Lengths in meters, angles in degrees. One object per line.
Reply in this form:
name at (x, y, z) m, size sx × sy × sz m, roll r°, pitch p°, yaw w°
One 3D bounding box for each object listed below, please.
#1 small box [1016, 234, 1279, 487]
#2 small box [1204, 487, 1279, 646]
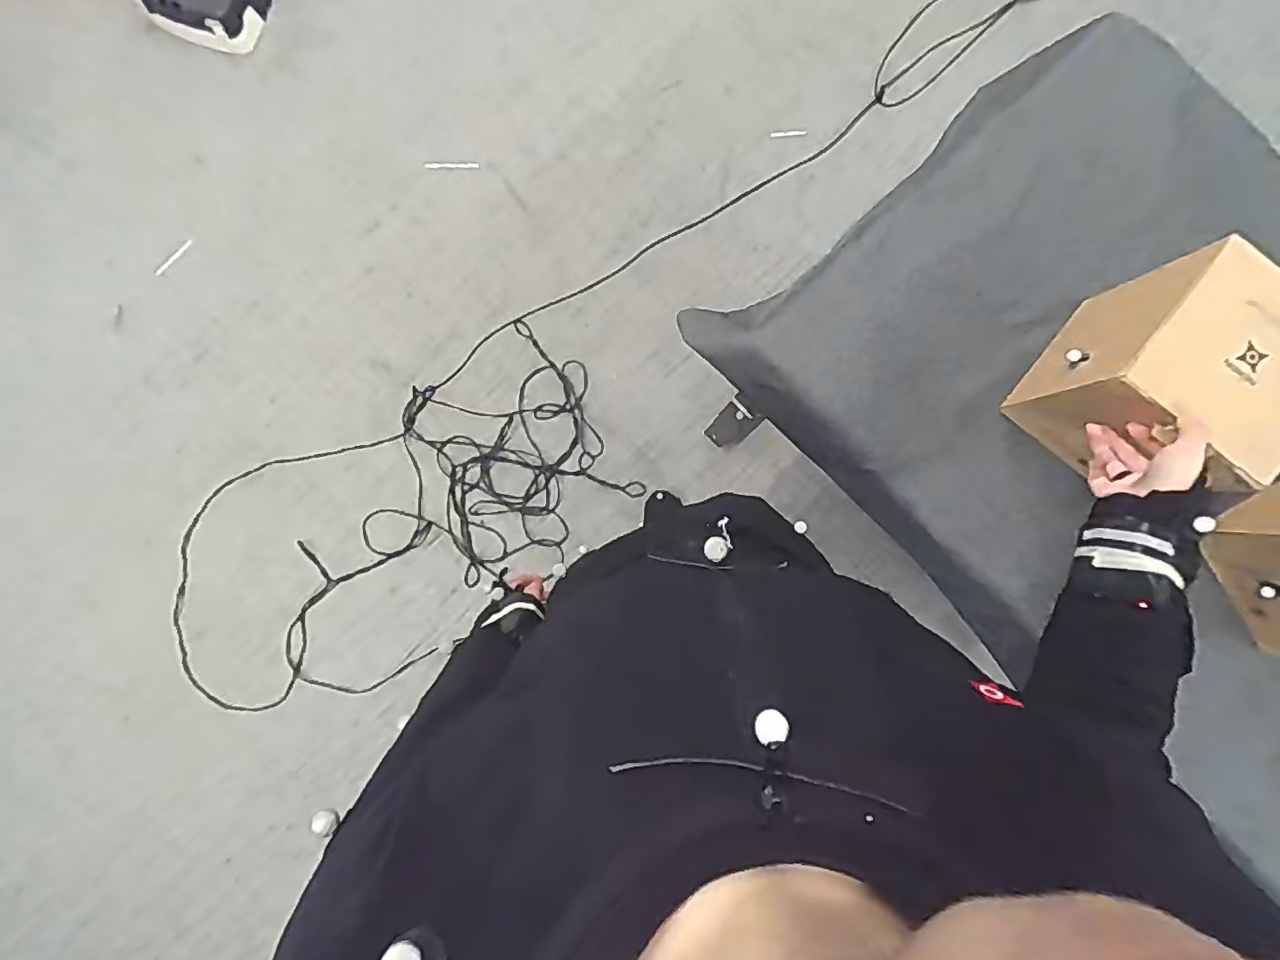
small box at (0.547, -0.105, 0.567) m, size 0.168 × 0.176 × 0.179 m, roll 39°, pitch 87°, yaw 0°
small box at (0.771, 0.083, 0.558) m, size 0.179 × 0.176 × 0.168 m, roll -28°, pitch 89°, yaw 0°
